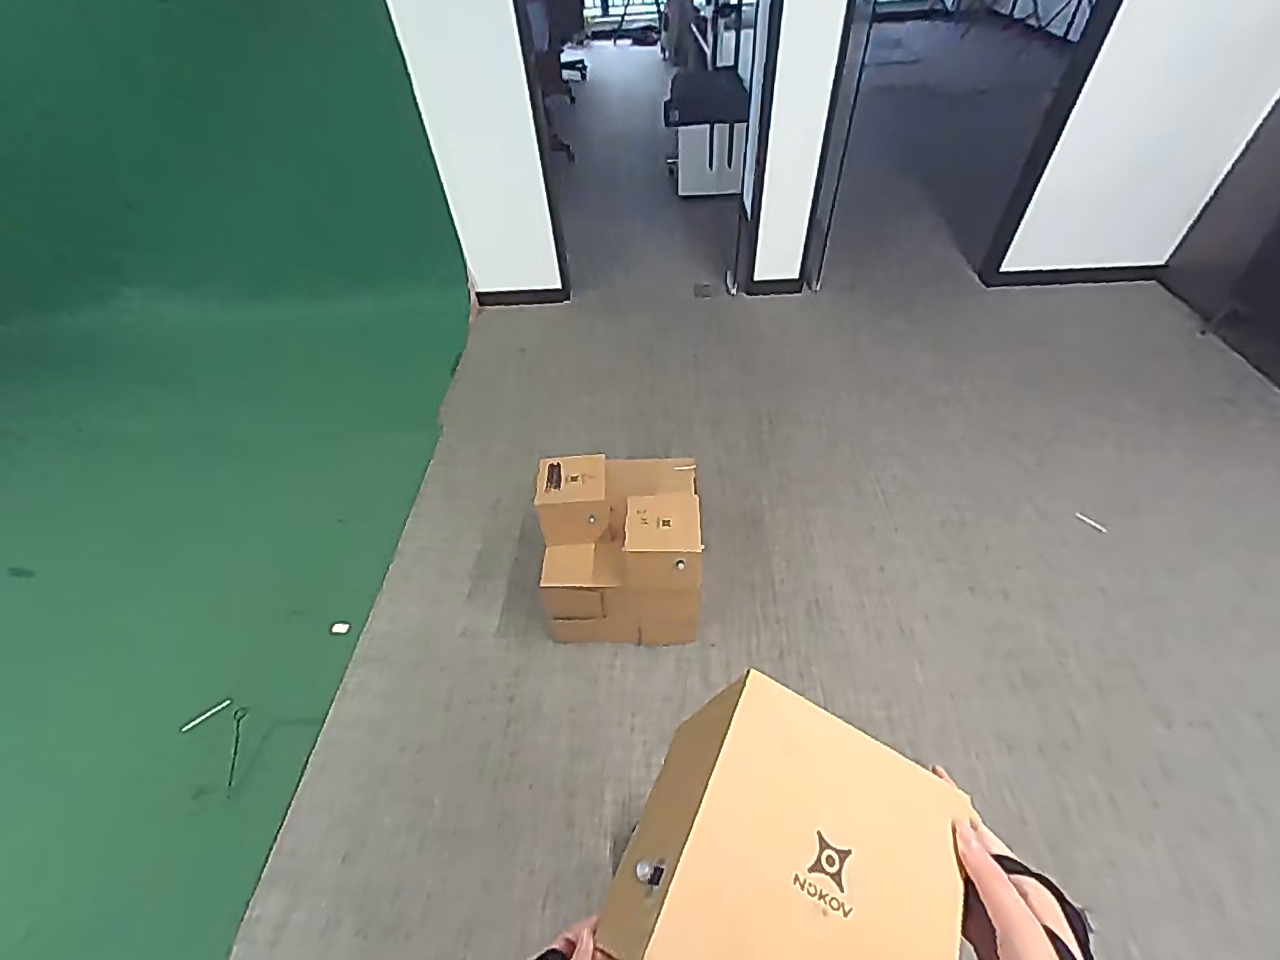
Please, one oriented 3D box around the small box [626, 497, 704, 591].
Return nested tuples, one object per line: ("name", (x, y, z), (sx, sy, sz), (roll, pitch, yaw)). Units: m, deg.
("small box", (0.060, 0.158, 1.312), (0.179, 0.176, 0.168), (0, 47, 3))
